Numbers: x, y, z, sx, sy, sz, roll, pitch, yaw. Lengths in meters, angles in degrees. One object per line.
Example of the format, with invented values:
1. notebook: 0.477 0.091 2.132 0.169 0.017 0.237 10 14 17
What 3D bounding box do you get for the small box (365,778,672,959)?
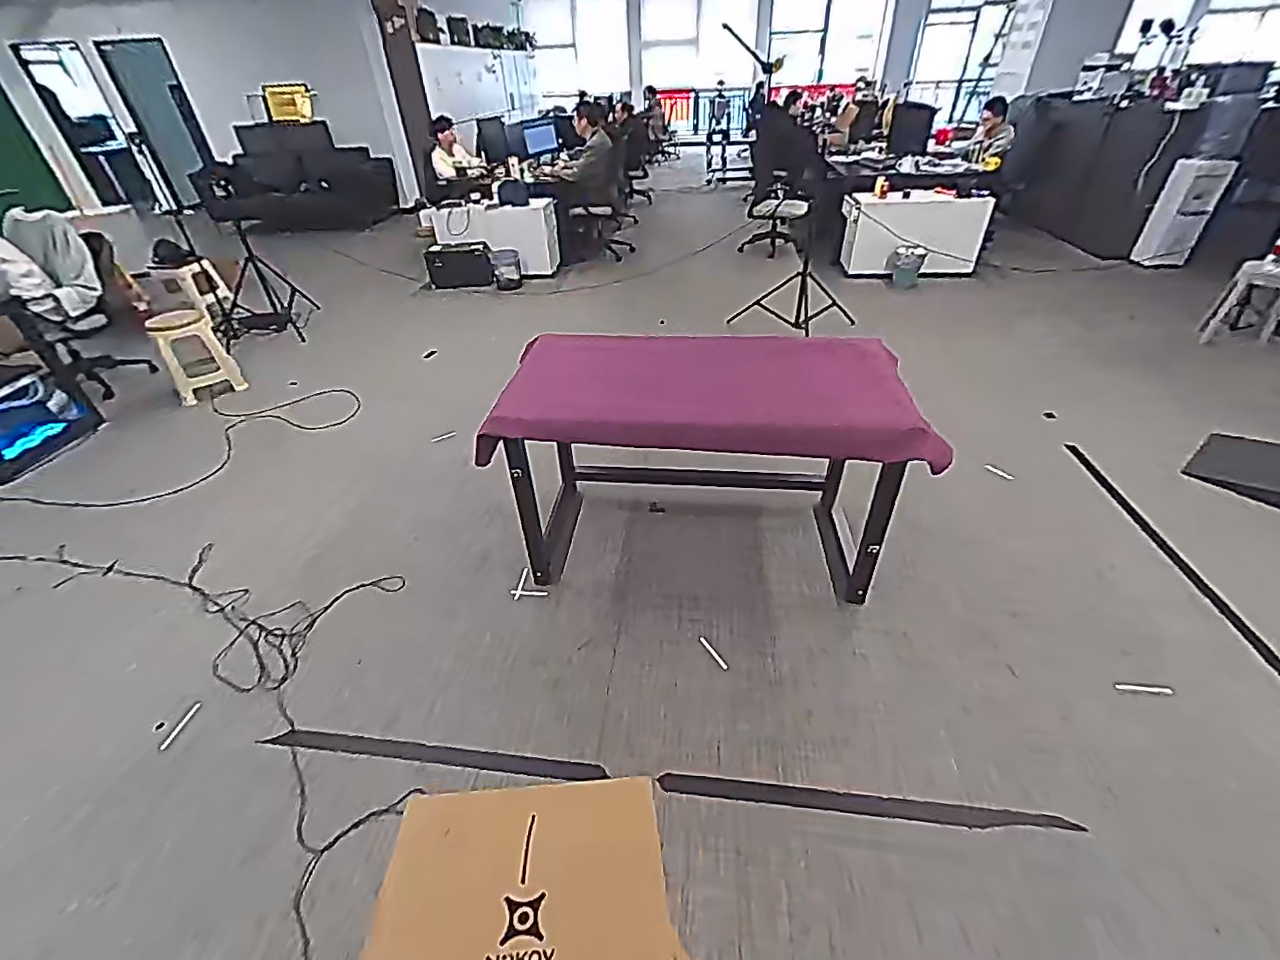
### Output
1. small box: -0.064 0.322 0.329 0.168 0.176 0.179 -2 25 -6
